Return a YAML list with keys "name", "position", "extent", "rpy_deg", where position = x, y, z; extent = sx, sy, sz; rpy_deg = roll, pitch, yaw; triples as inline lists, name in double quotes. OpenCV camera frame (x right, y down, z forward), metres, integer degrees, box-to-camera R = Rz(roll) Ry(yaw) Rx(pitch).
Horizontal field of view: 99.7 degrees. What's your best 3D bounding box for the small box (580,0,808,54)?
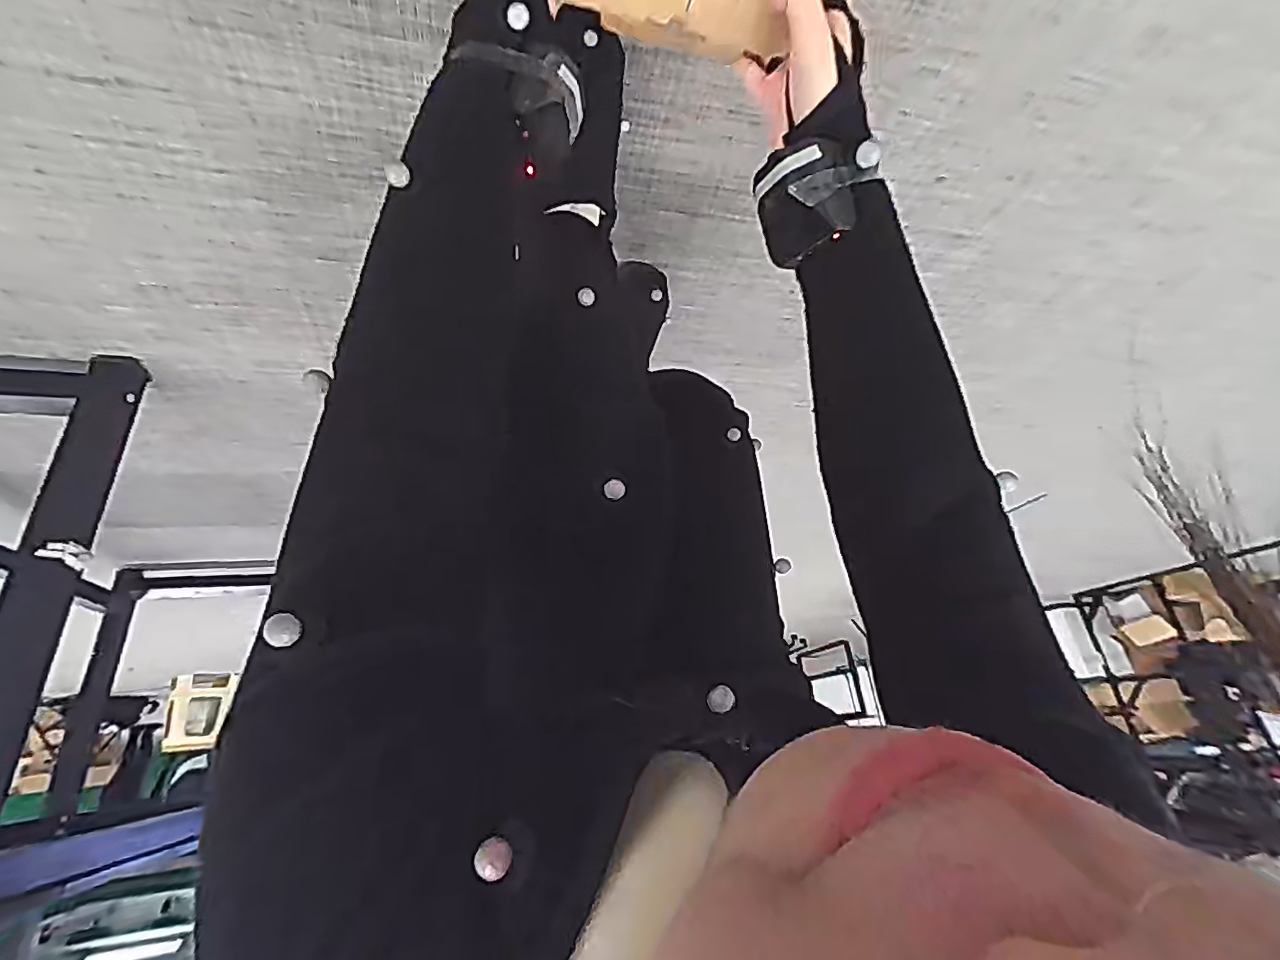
- name: "small box"
  position: [0.043, -0.418, 0.327]
  extent: [0.168, 0.176, 0.179]
  rpy_deg: [4, 154, -12]
